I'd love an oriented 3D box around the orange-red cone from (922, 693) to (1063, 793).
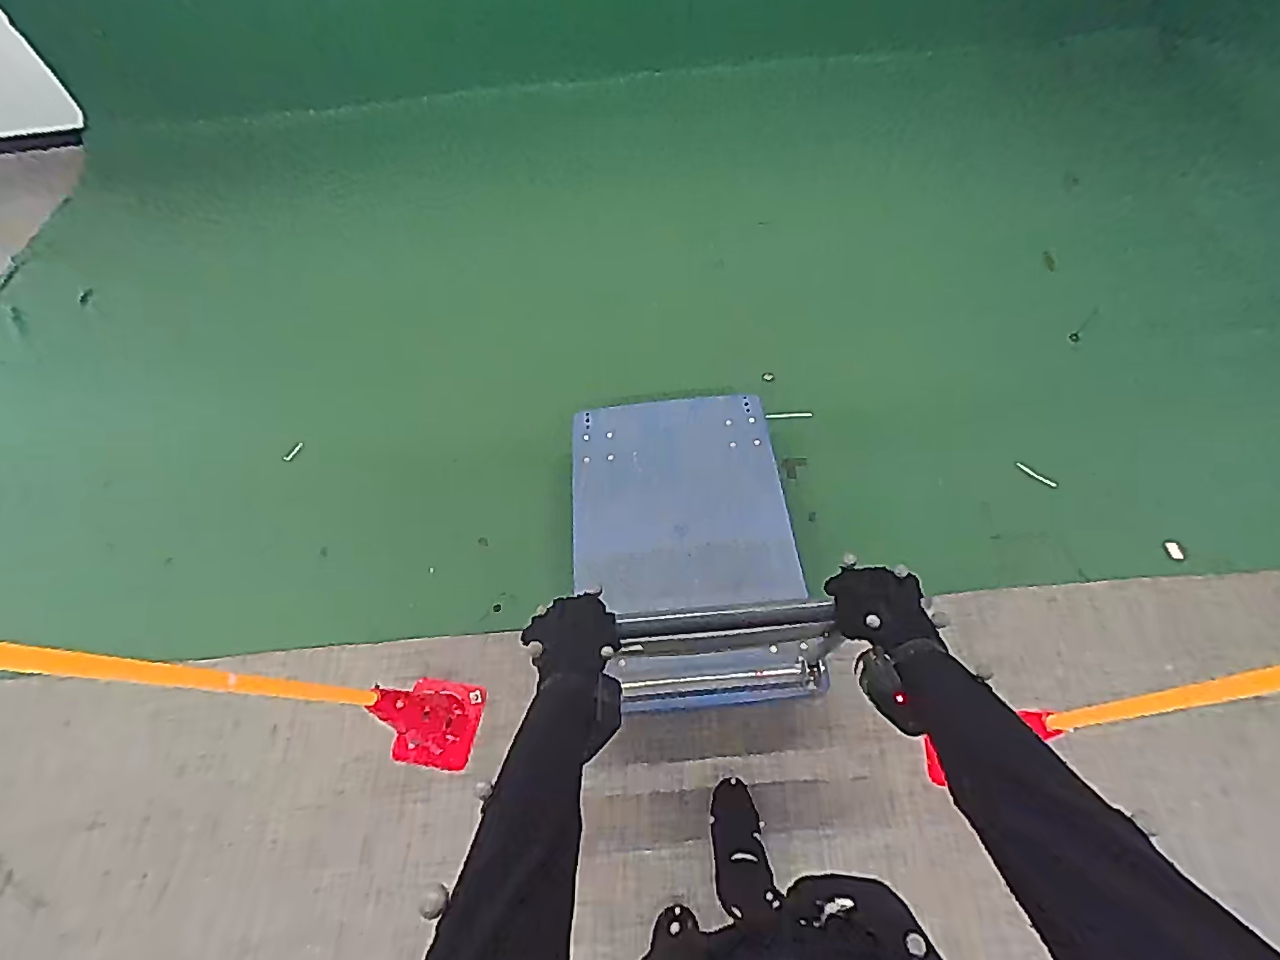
[{"bbox_3d":[0.760,0.528,1.125,0.198,0.360,0.199,4,60,8],"label":"orange-red cone"}]
